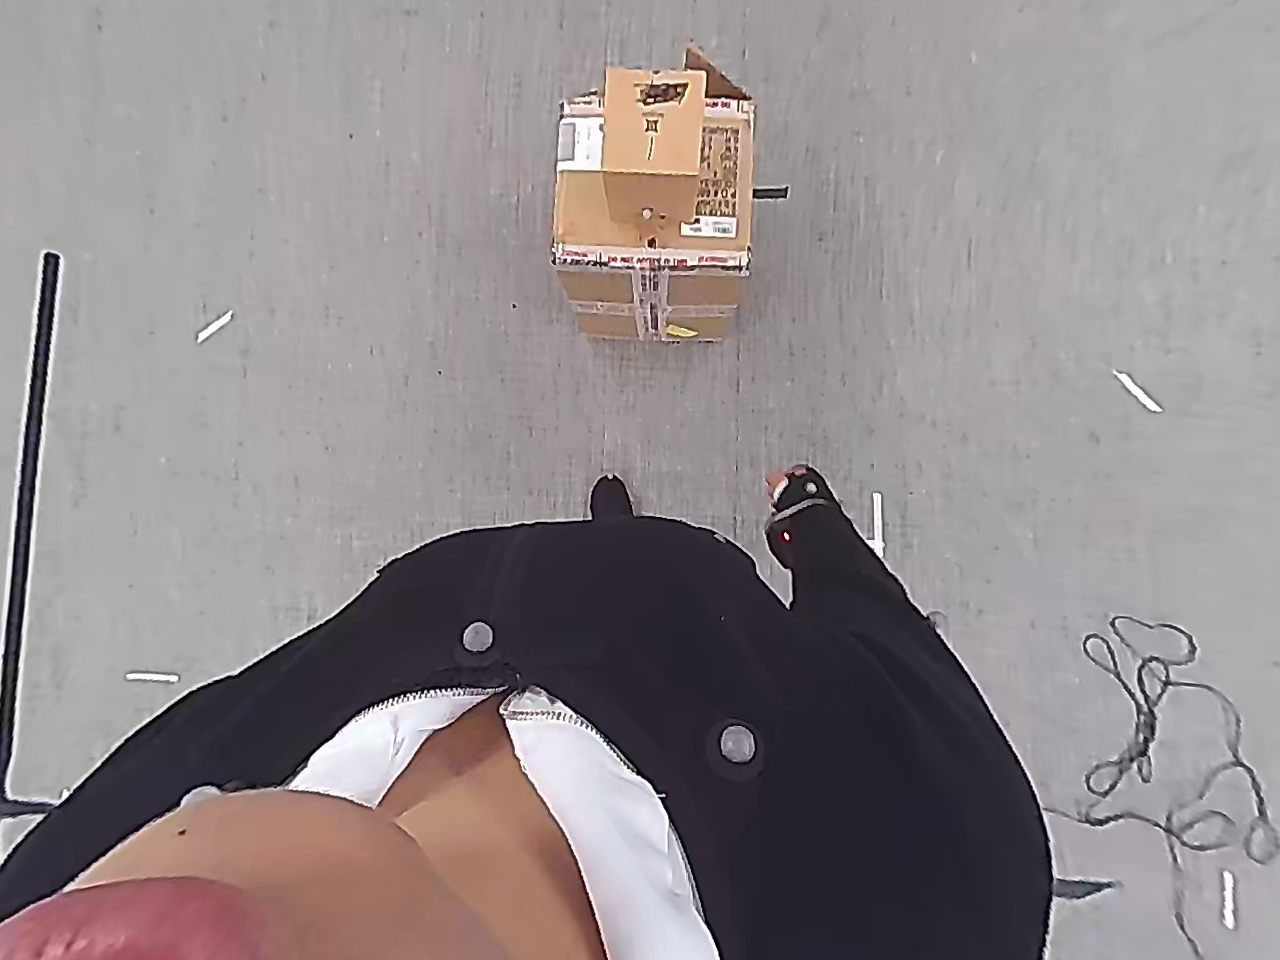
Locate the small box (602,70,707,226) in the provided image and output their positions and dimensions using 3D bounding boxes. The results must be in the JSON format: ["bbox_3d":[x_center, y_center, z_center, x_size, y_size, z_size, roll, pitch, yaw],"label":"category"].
[{"bbox_3d":[0.026,-0.588,0.975,0.168,0.176,0.179,4,90,2],"label":"small box"}]
